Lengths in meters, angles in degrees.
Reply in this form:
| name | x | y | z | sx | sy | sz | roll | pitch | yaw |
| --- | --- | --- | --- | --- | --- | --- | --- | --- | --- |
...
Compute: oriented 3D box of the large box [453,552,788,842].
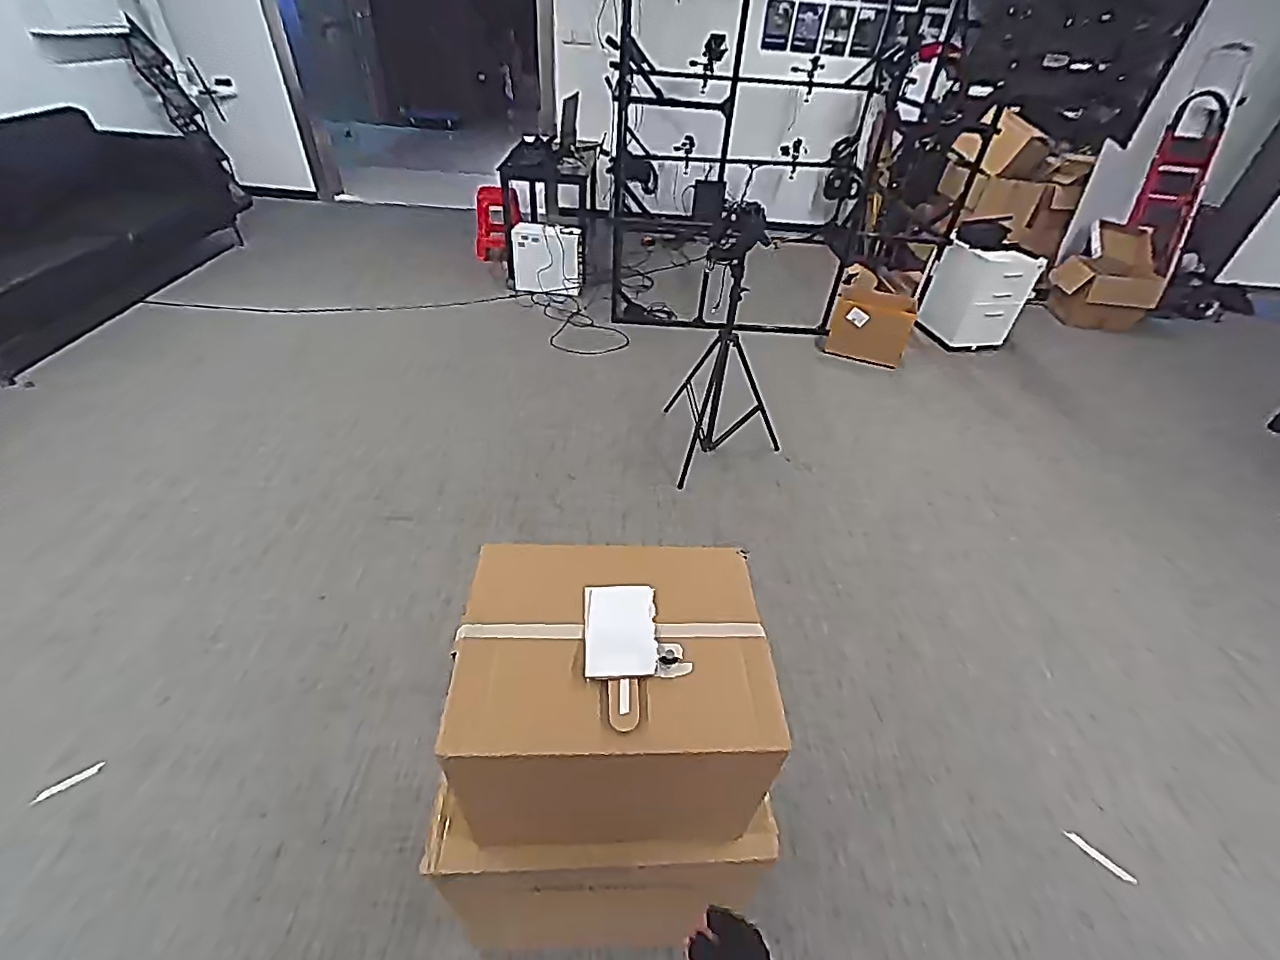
| name | x | y | z | sx | sy | sz | roll | pitch | yaw |
| --- | --- | --- | --- | --- | --- | --- | --- | --- | --- |
| large box | -0.039 | 0.328 | 0.837 | 0.408 | 0.320 | 0.320 | 2 | 41 | -5 |
